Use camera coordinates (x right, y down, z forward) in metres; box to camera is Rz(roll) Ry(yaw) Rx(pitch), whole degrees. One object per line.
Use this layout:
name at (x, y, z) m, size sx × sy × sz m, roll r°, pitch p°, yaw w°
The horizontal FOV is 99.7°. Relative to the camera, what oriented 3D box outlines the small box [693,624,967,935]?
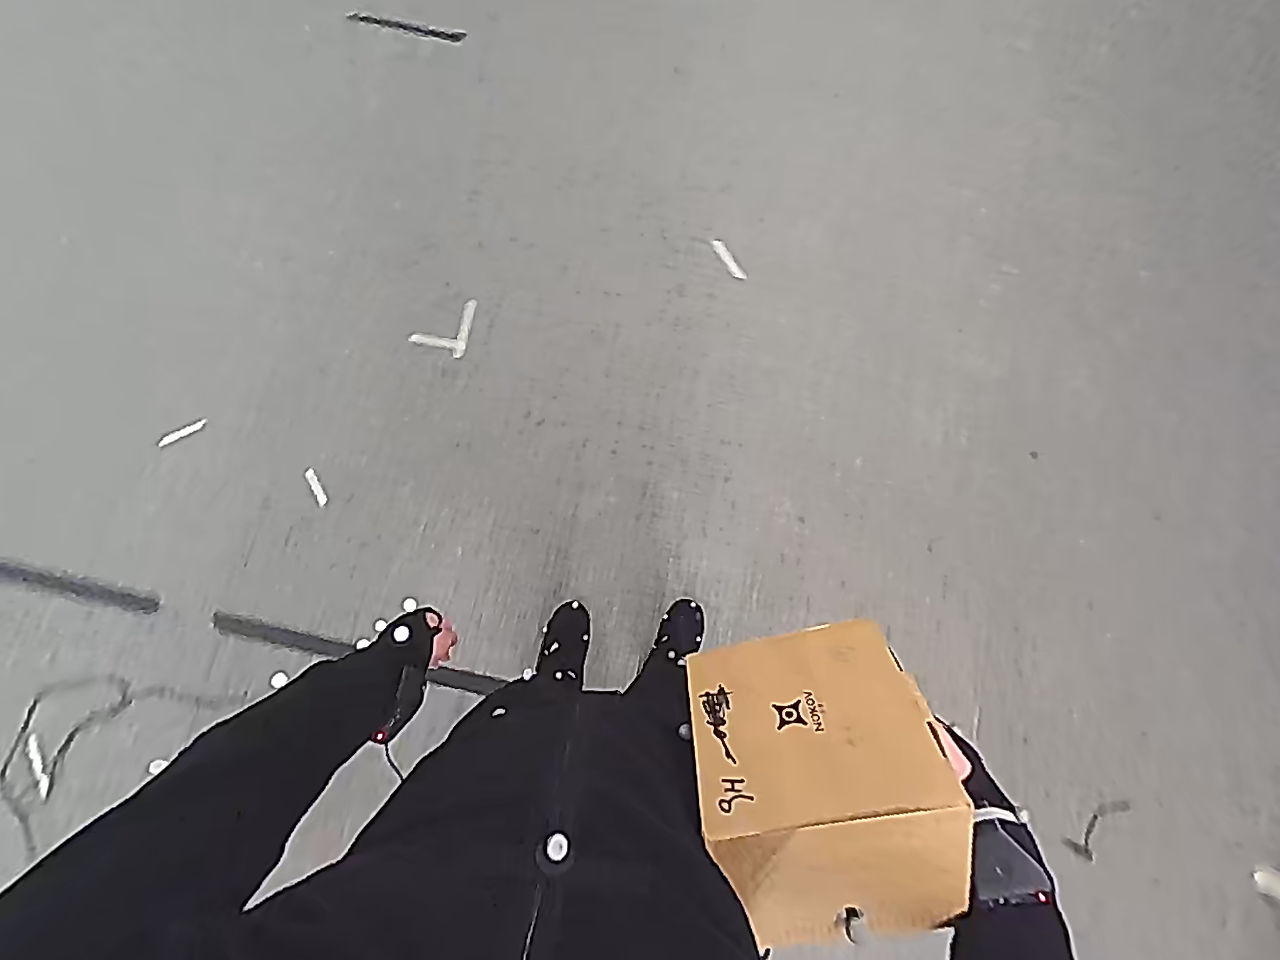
small box at (0.154, 0.259, 0.476) m, size 0.179 × 0.168 × 0.176 m, roll -14°, pitch 118°, yaw 7°
